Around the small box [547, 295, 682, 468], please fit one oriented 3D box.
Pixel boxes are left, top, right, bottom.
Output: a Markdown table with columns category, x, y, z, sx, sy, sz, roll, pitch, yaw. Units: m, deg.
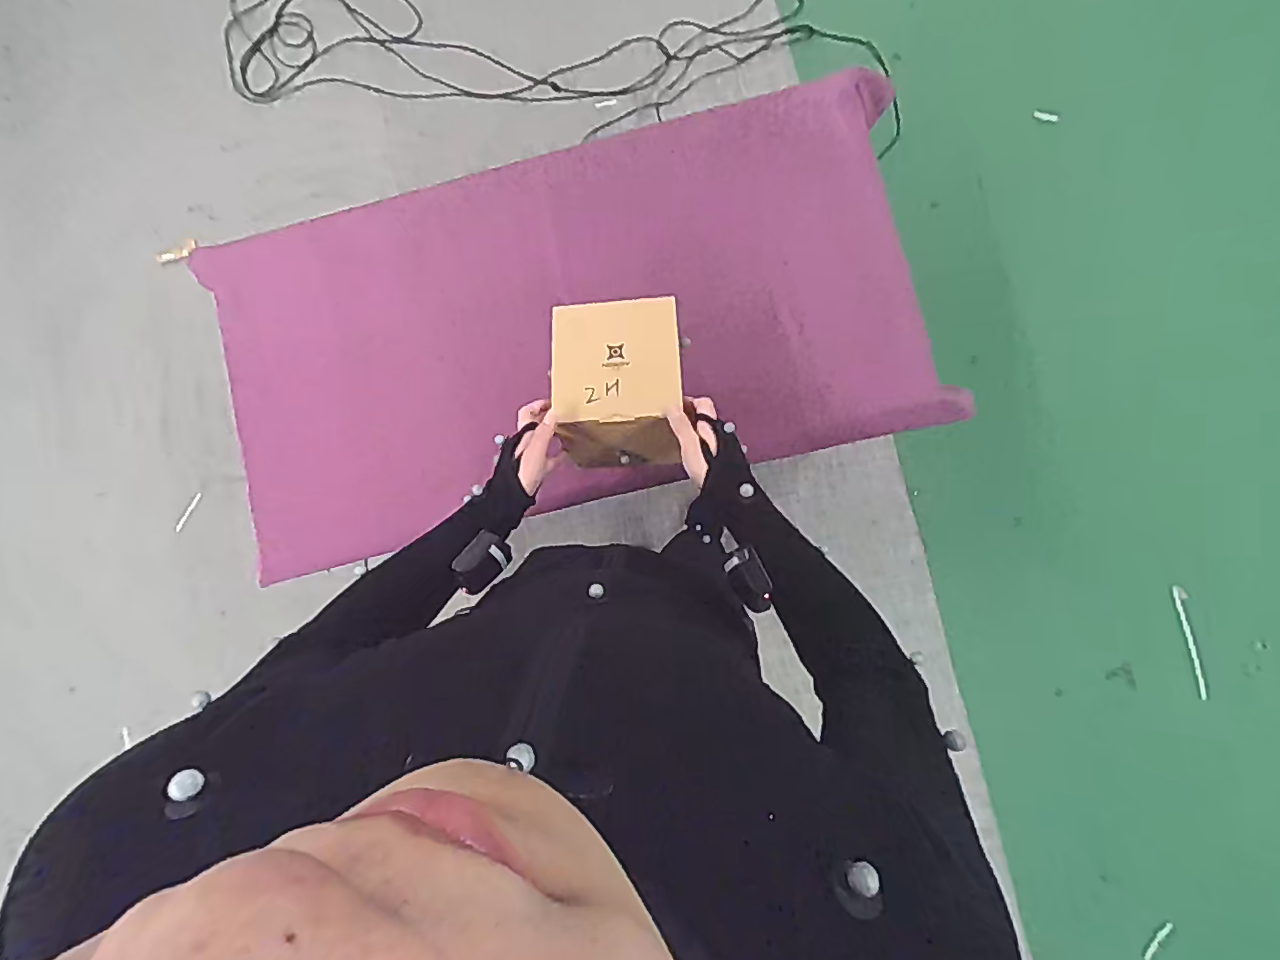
| category | x | y | z | sx | sy | sz | roll | pitch | yaw |
| --- | --- | --- | --- | --- | --- | --- | --- | --- | --- |
| small box | -0.029 | -0.129 | 0.753 | 0.168 | 0.176 | 0.179 | -4 | 72 | 4 |
